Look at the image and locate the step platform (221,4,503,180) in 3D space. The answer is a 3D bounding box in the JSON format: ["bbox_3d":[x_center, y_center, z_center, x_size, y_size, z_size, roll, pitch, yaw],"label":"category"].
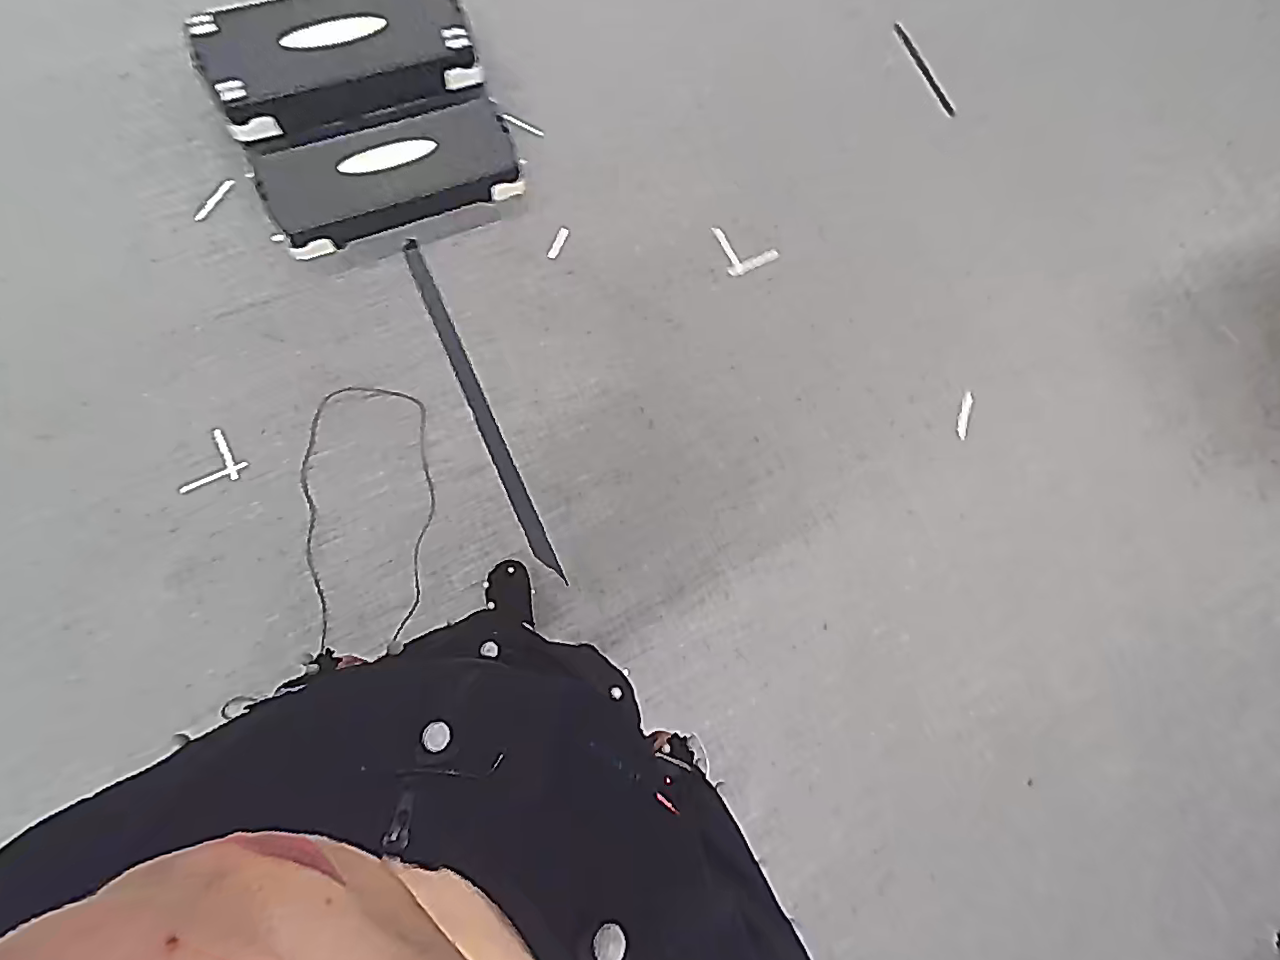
[{"bbox_3d":[-0.744,-1.081,1.498,0.684,0.204,0.286,-19,81,-12],"label":"step platform"}]
